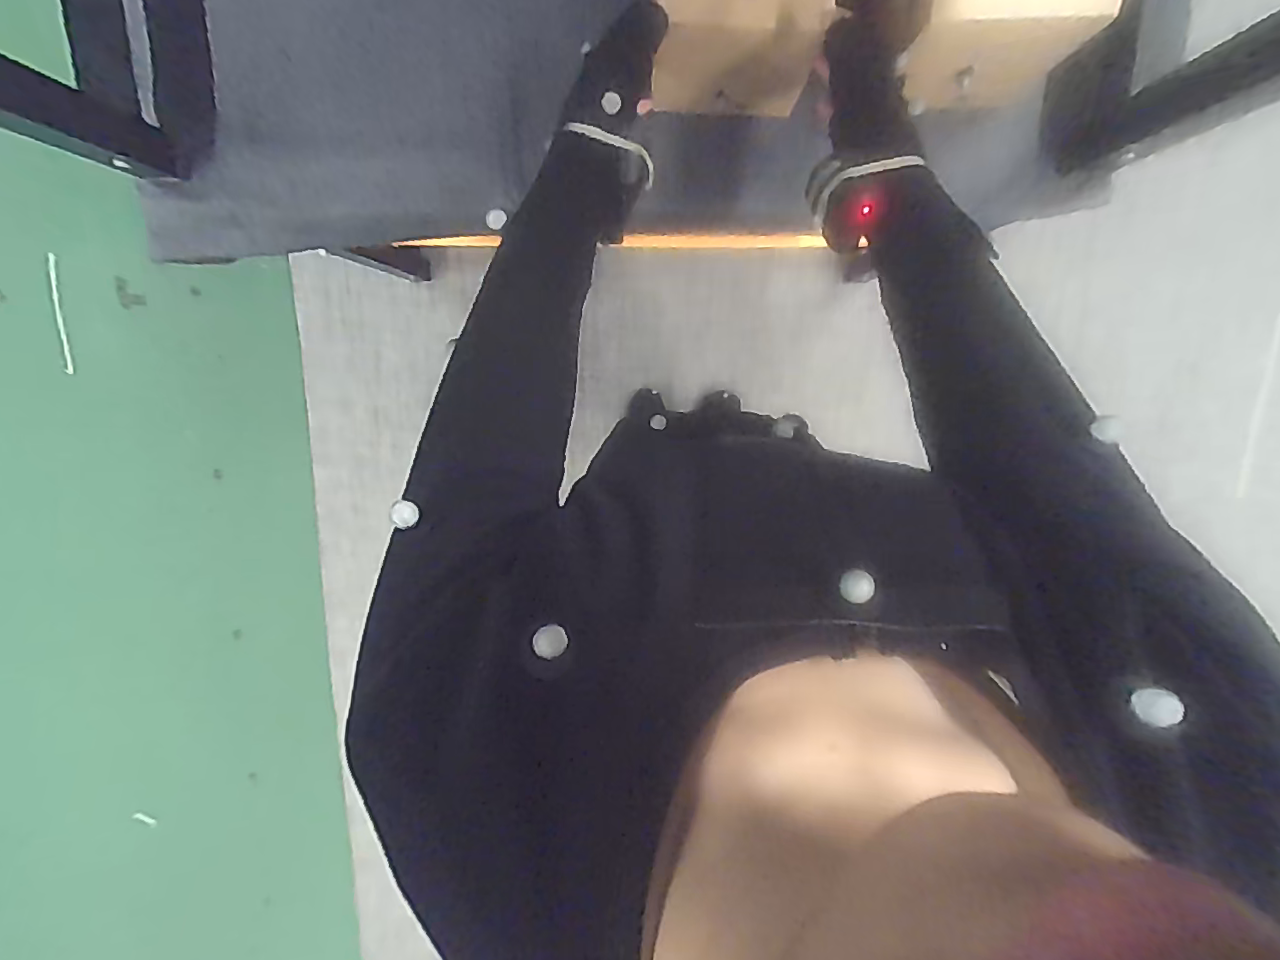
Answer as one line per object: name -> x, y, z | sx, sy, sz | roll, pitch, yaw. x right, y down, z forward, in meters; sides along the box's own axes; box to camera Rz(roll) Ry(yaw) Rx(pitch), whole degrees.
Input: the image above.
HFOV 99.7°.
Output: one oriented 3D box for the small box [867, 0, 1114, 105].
small box -> 0.344, -0.510, 0.547 | 0.168, 0.176, 0.179 | 0, 101, 2
